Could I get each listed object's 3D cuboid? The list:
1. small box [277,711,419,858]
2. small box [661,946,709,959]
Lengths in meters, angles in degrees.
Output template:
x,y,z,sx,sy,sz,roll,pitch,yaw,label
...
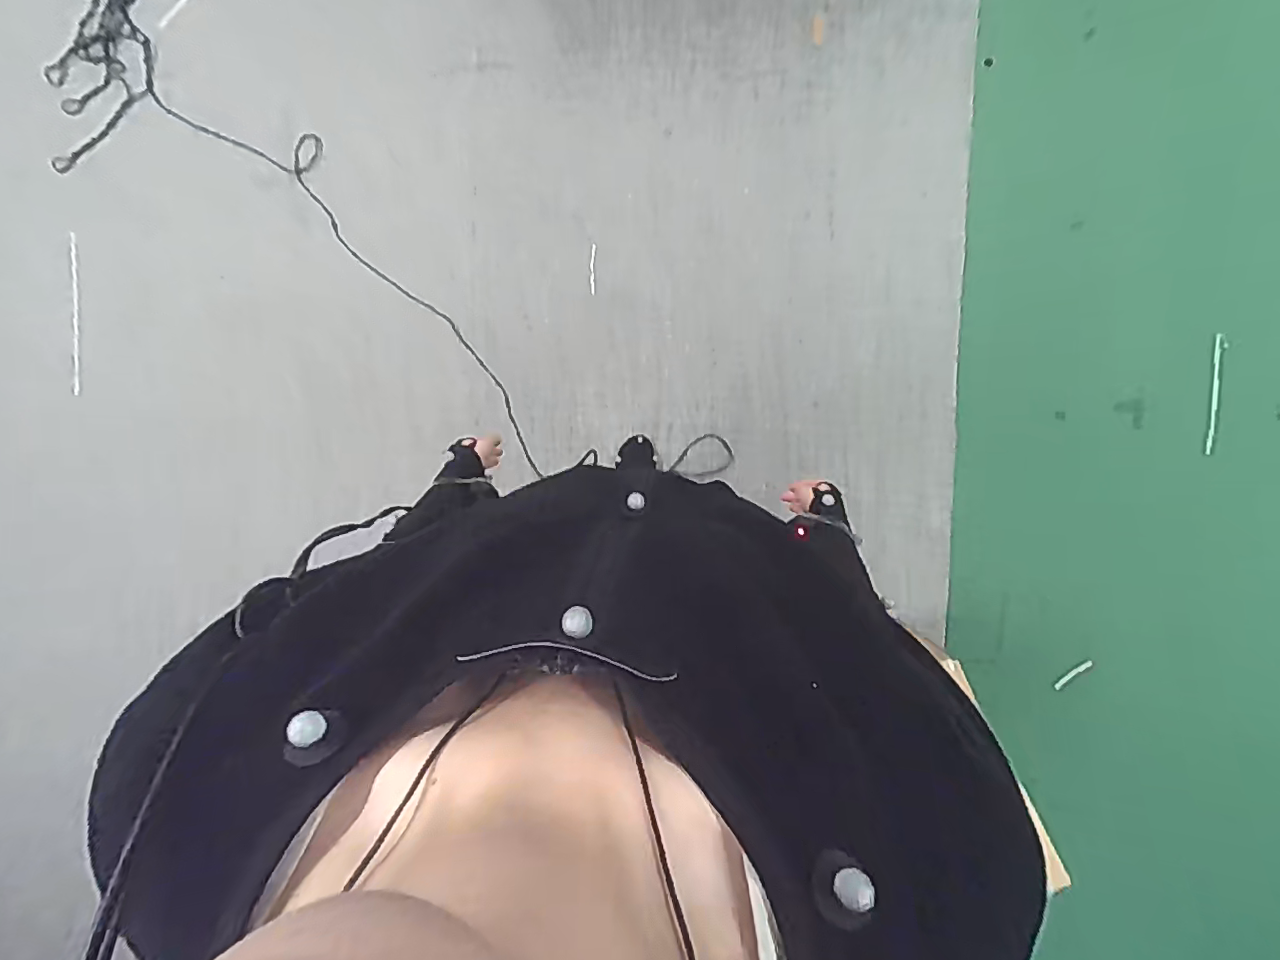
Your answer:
x,y,z,sx,sy,sz,roll,pitch,yaw,label
-0.614,0.642,1.163,0.168,0.176,0.179,39,92,2,small box
0.068,0.913,0.859,0.168,0.176,0.179,-28,90,4,small box
